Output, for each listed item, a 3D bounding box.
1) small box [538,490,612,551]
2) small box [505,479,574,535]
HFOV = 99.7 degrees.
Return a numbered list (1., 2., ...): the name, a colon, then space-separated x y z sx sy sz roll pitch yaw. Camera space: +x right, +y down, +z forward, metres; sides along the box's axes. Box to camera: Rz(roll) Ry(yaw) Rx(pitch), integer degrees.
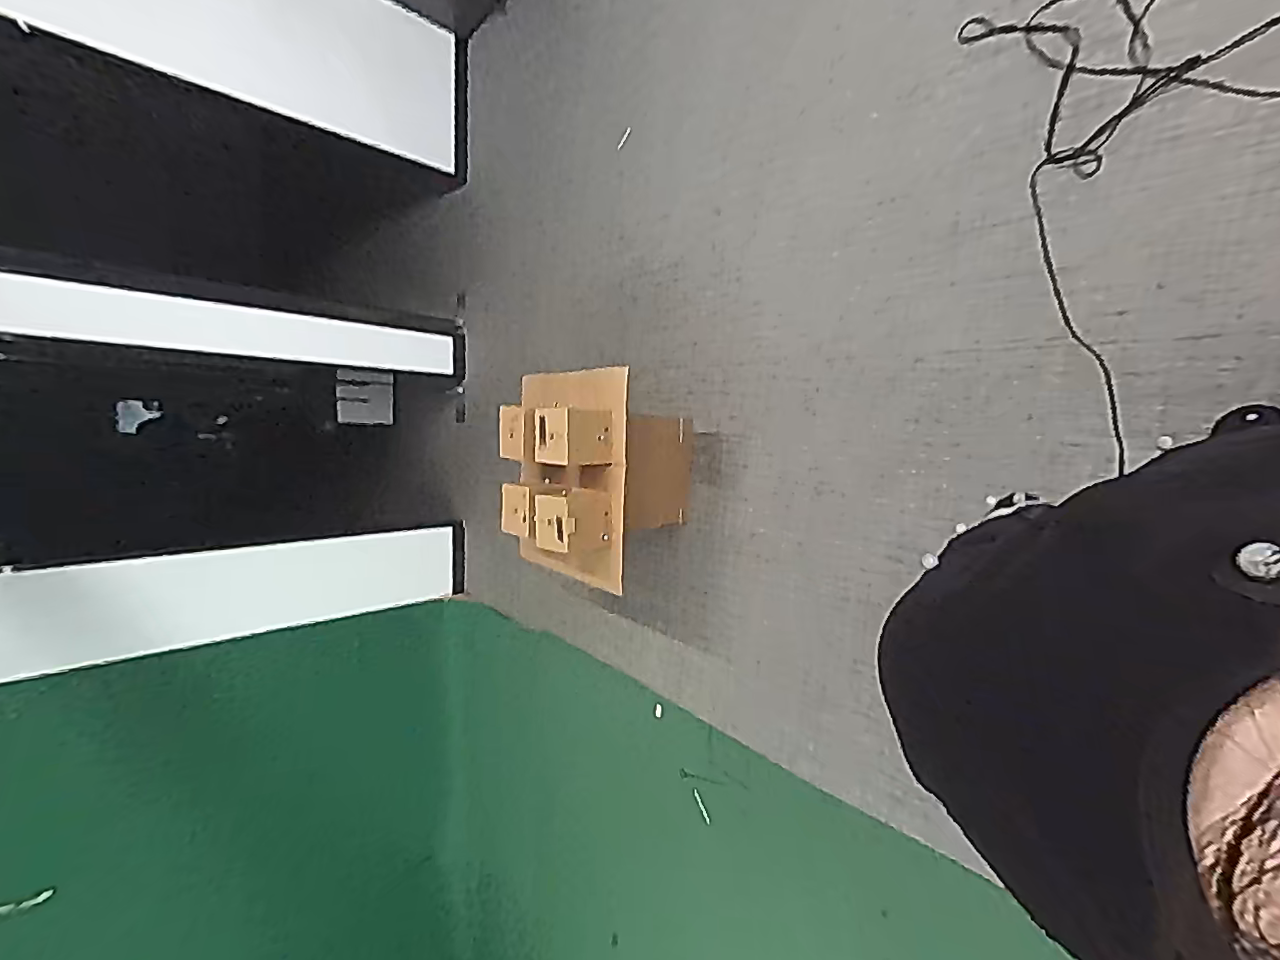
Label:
1. small box: -0.199 0.120 1.683 0.179 0.176 0.168 3 93 48
2. small box: -0.343 0.087 1.840 0.179 0.176 0.168 7 98 49
